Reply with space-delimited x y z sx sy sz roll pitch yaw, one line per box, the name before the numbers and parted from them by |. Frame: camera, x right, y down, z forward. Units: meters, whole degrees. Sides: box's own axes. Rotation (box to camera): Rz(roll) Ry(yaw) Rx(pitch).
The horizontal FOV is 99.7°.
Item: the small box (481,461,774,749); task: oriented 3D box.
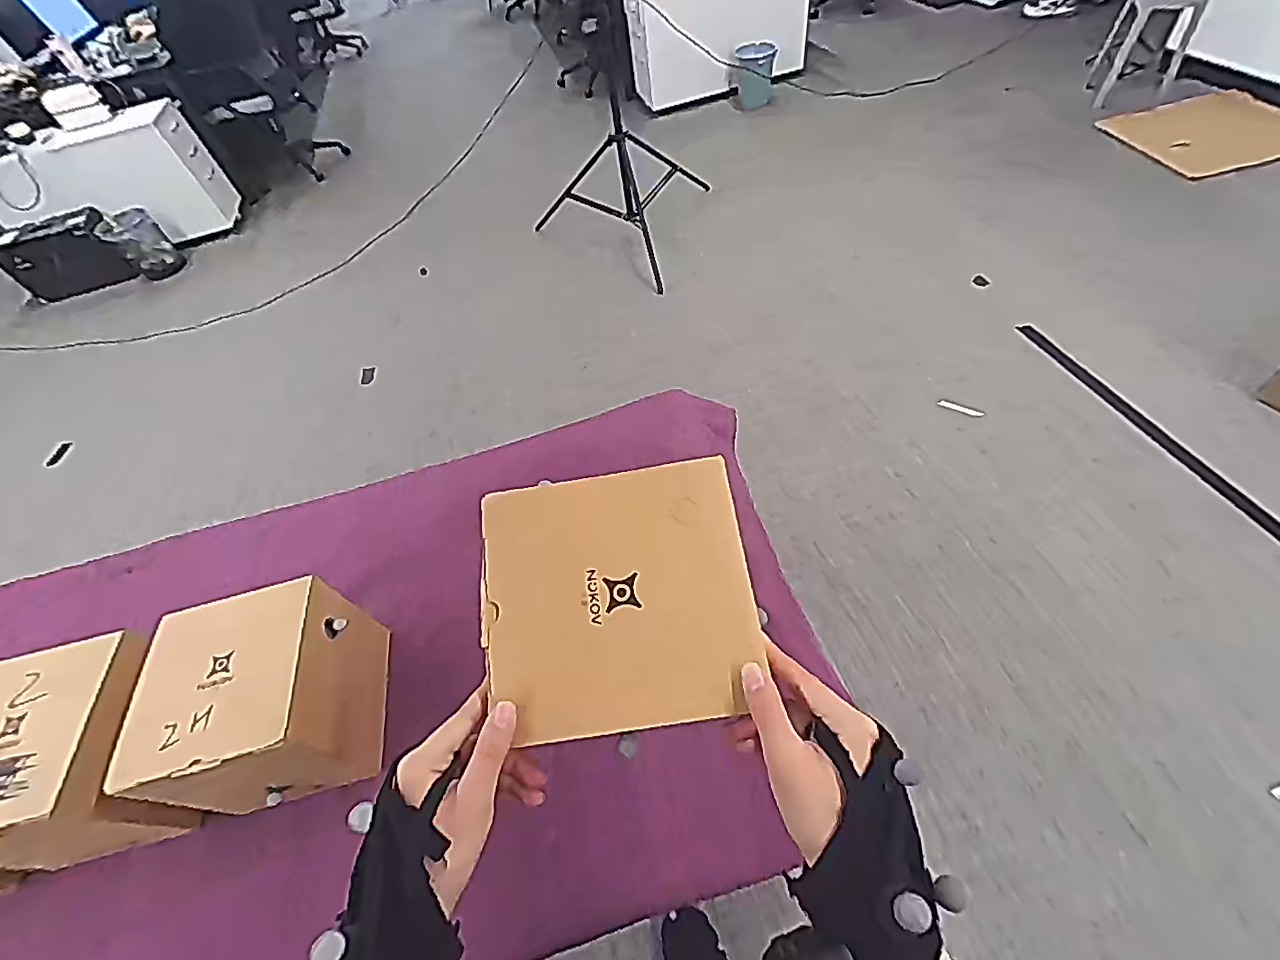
small box | -0.008 0.102 0.423 0.179 0.176 0.168 -10 68 3
